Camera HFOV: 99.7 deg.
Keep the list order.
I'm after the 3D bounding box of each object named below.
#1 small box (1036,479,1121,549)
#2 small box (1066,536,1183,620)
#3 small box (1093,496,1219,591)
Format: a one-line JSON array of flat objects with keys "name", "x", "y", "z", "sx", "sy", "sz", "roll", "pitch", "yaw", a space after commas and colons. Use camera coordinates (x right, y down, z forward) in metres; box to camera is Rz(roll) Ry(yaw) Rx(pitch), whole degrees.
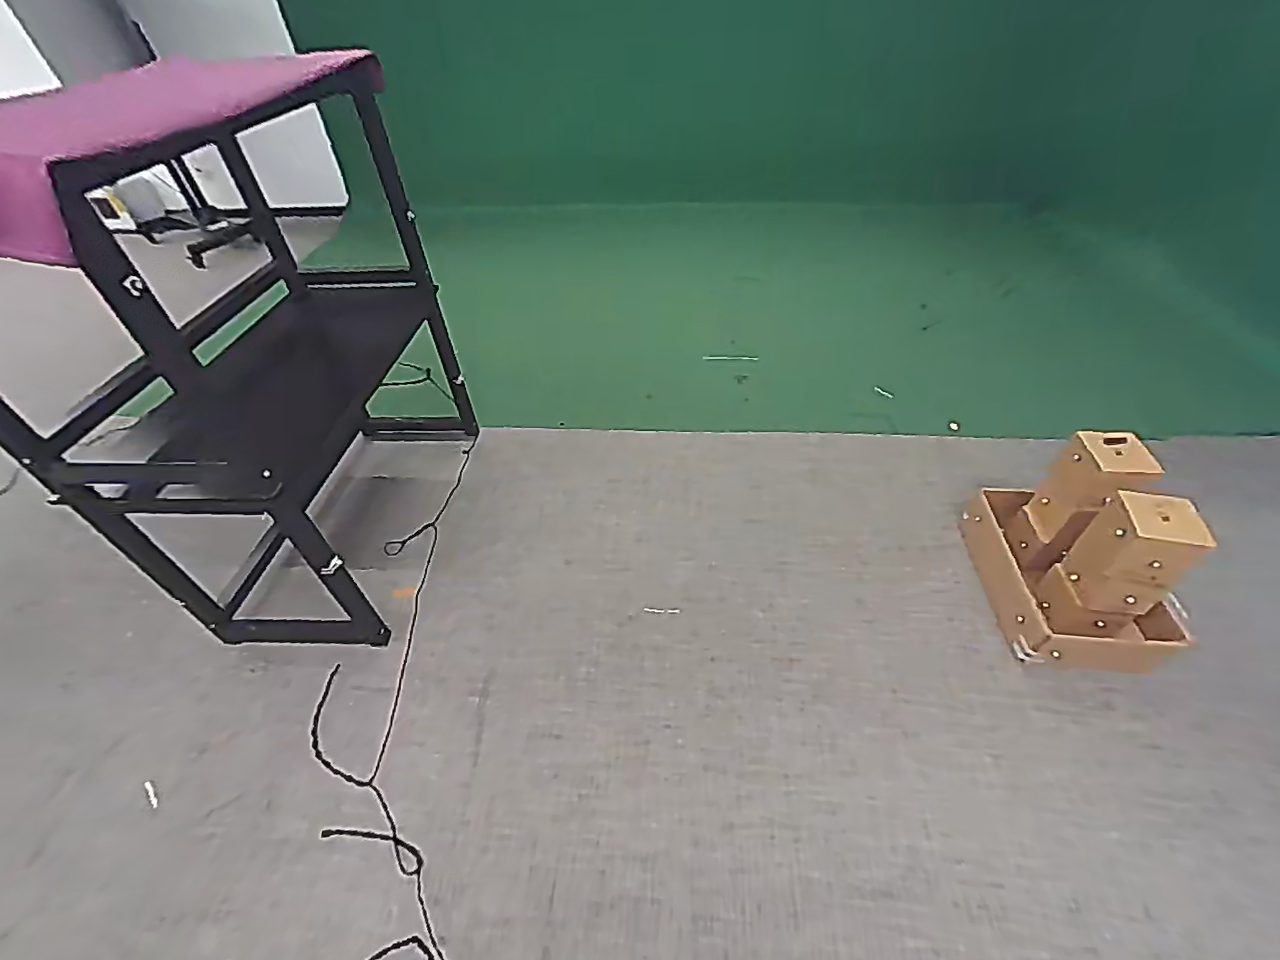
[{"name": "small box", "x": 1.435, "y": 0.115, "z": 1.762, "sx": 0.179, "sy": 0.176, "sz": 0.168, "roll": 1, "pitch": 46, "yaw": 4}, {"name": "small box", "x": 1.399, "y": 0.287, "z": 1.576, "sx": 0.168, "sy": 0.176, "sz": 0.179, "roll": 4, "pitch": 44, "yaw": 9}, {"name": "small box", "x": 1.375, "y": 0.173, "z": 1.457, "sx": 0.168, "sy": 0.176, "sz": 0.179, "roll": 9, "pitch": 44, "yaw": 14}]
